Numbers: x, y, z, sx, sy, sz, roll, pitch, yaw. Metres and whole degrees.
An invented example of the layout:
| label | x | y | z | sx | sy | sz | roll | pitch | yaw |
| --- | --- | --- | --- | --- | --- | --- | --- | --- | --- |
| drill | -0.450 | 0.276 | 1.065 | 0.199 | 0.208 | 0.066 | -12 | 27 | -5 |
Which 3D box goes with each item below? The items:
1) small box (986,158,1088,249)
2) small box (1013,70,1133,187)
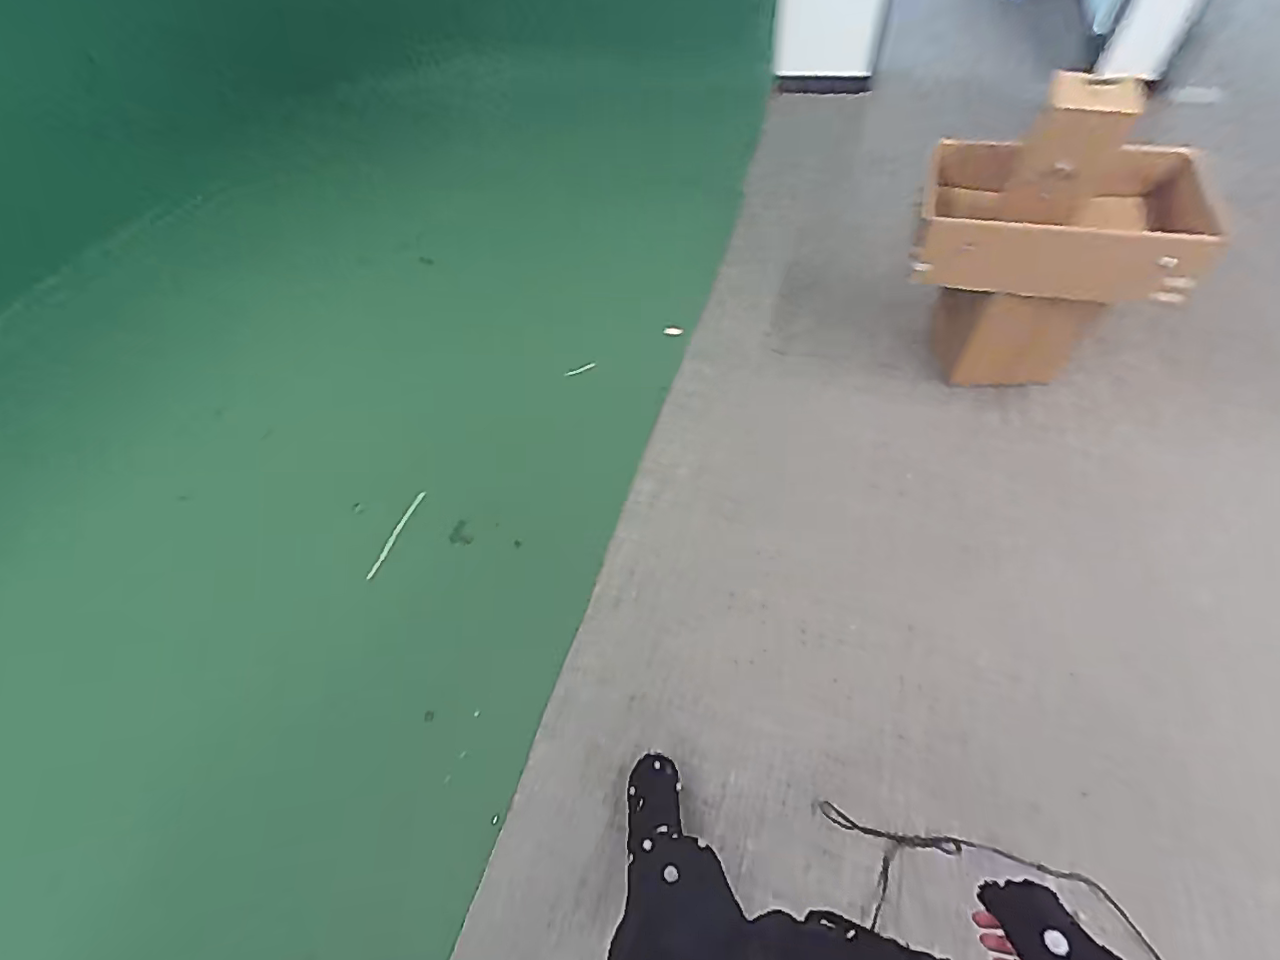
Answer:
| label | x | y | z | sx | sy | sz | roll | pitch | yaw |
| --- | --- | --- | --- | --- | --- | --- | --- | --- | --- |
| small box | 1.031 | -0.737 | 1.409 | 0.168 | 0.176 | 0.179 | 18 | 61 | 19 |
| small box | 1.009 | -0.826 | 1.273 | 0.168 | 0.176 | 0.179 | 17 | 62 | 17 |
